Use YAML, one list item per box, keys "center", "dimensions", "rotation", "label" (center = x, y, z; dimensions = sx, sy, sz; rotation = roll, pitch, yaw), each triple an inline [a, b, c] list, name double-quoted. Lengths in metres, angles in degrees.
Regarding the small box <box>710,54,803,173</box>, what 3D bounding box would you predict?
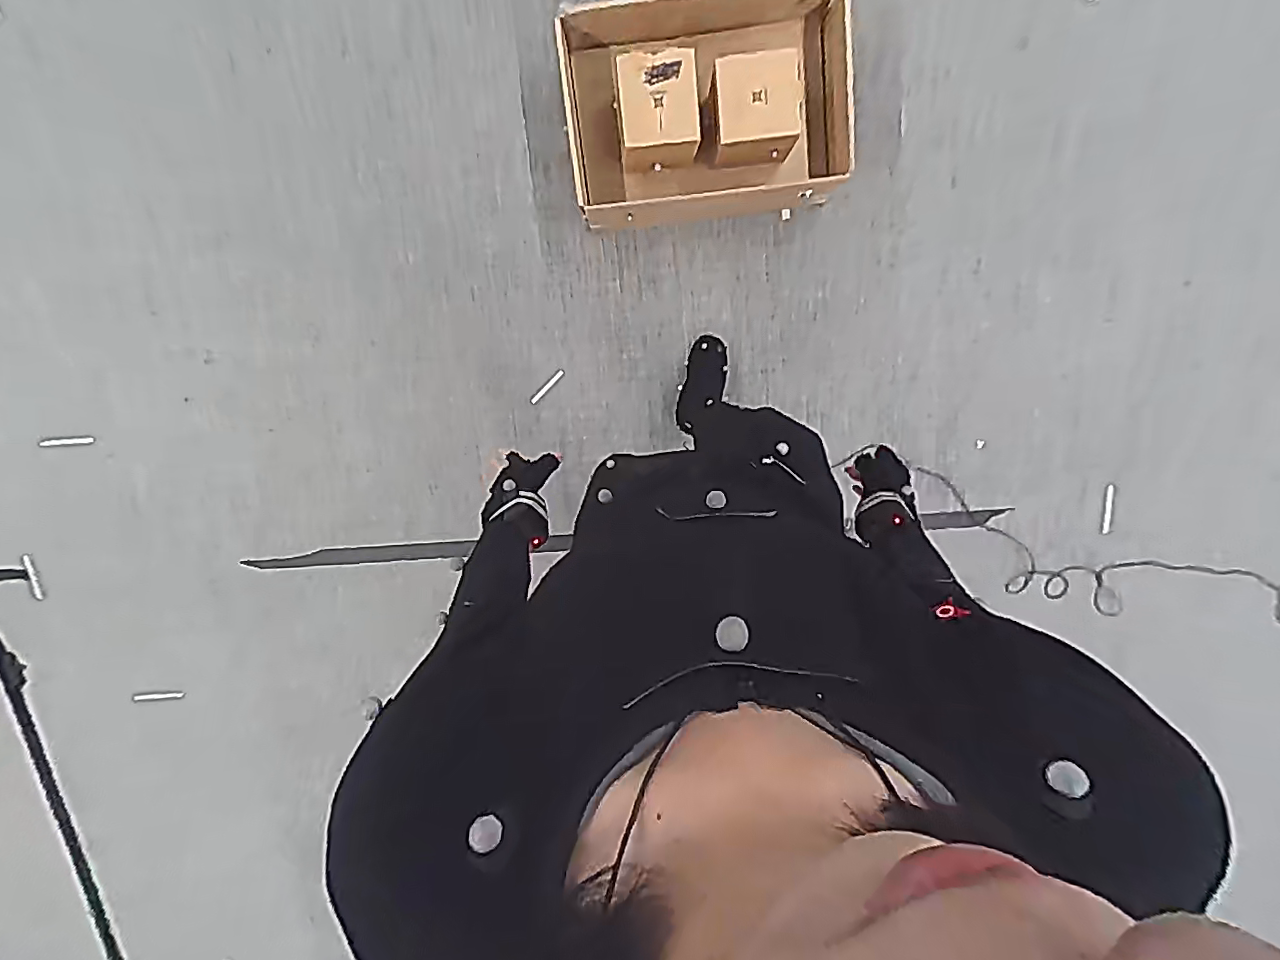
- center: [0.258, -0.816, 1.220]
  dimensions: [0.179, 0.176, 0.168]
  rotation: [-5, 102, 3]
  label: "small box"
